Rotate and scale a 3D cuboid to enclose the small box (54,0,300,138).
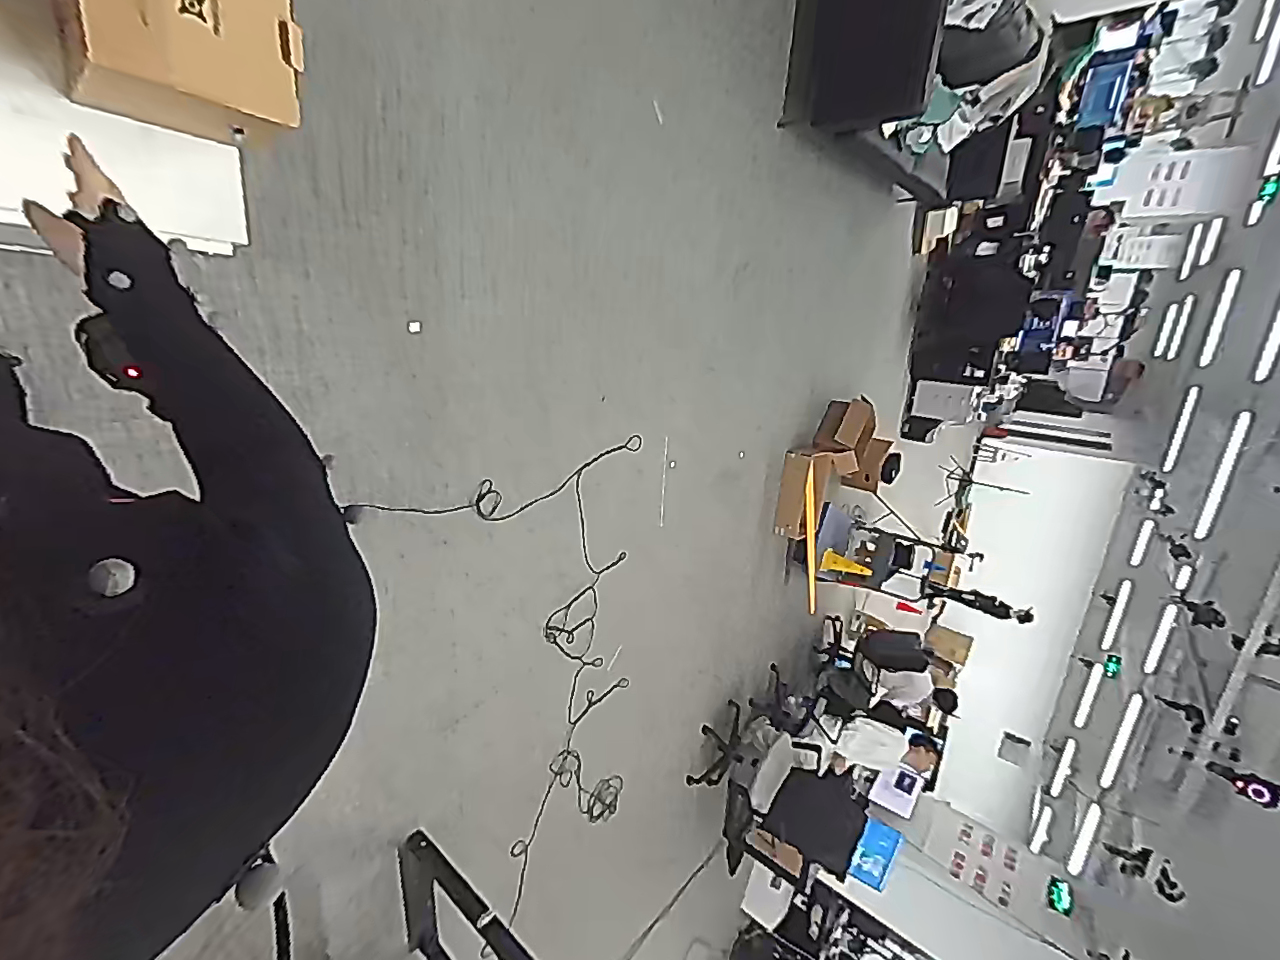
[{"bbox_3d":[-0.497,-0.492,0.583,0.179,0.176,0.168,-11,112,-48],"label":"small box"}]
